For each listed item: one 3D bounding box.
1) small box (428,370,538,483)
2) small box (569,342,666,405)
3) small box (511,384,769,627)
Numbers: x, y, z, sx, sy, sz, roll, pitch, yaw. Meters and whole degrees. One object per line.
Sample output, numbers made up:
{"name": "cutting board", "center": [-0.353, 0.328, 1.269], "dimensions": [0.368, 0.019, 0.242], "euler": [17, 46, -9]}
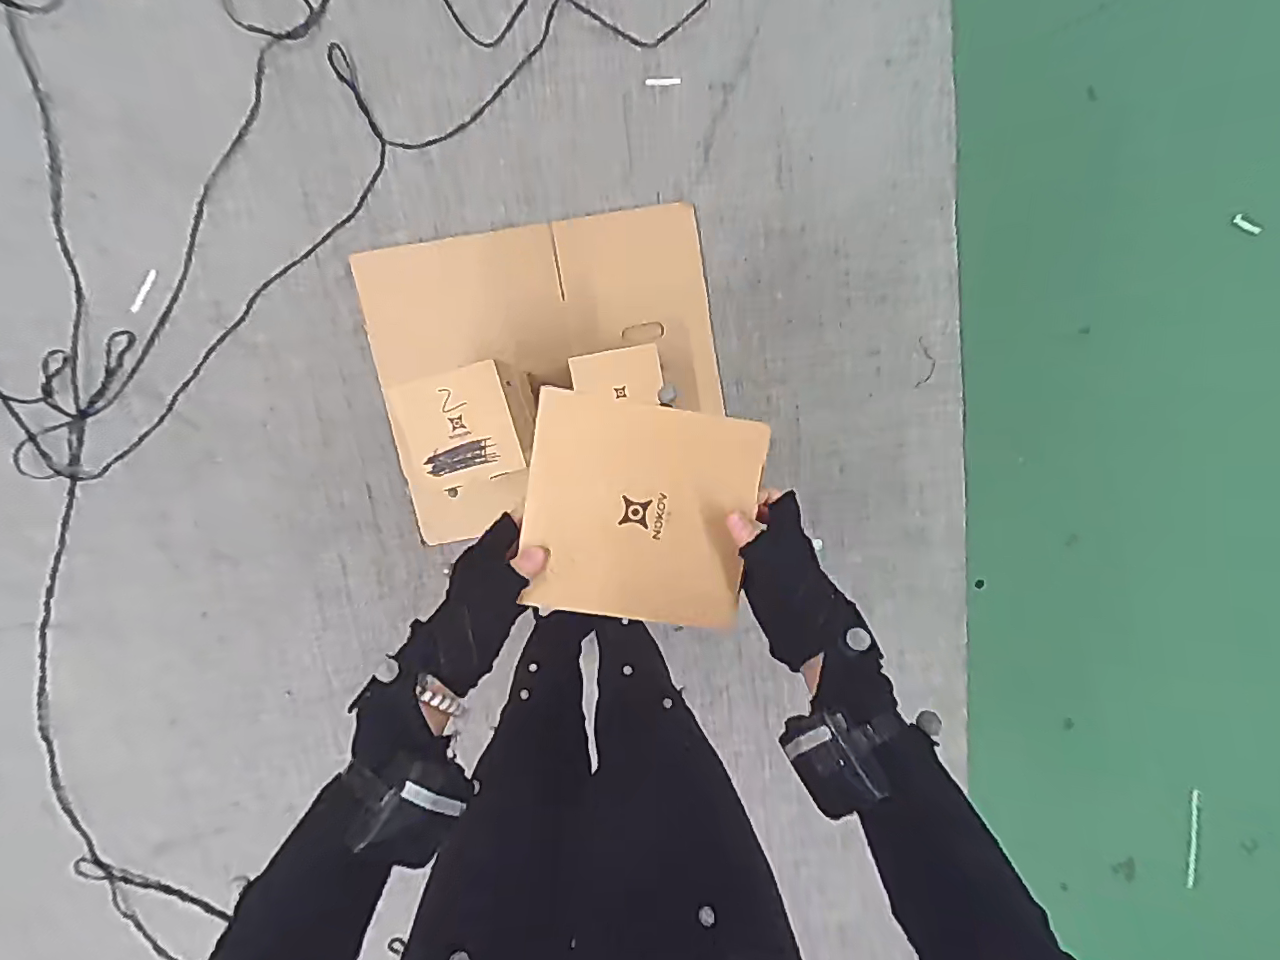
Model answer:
{"name": "small box", "center": [-0.286, -0.110, 1.057], "dimensions": [0.168, 0.176, 0.179], "euler": [-15, 100, -2]}
{"name": "small box", "center": [-0.042, -0.167, 1.071], "dimensions": [0.168, 0.176, 0.179], "euler": [-11, 100, -1]}
{"name": "small box", "center": [-0.005, 0.014, 0.493], "dimensions": [0.179, 0.176, 0.168], "euler": [10, 97, -5]}
